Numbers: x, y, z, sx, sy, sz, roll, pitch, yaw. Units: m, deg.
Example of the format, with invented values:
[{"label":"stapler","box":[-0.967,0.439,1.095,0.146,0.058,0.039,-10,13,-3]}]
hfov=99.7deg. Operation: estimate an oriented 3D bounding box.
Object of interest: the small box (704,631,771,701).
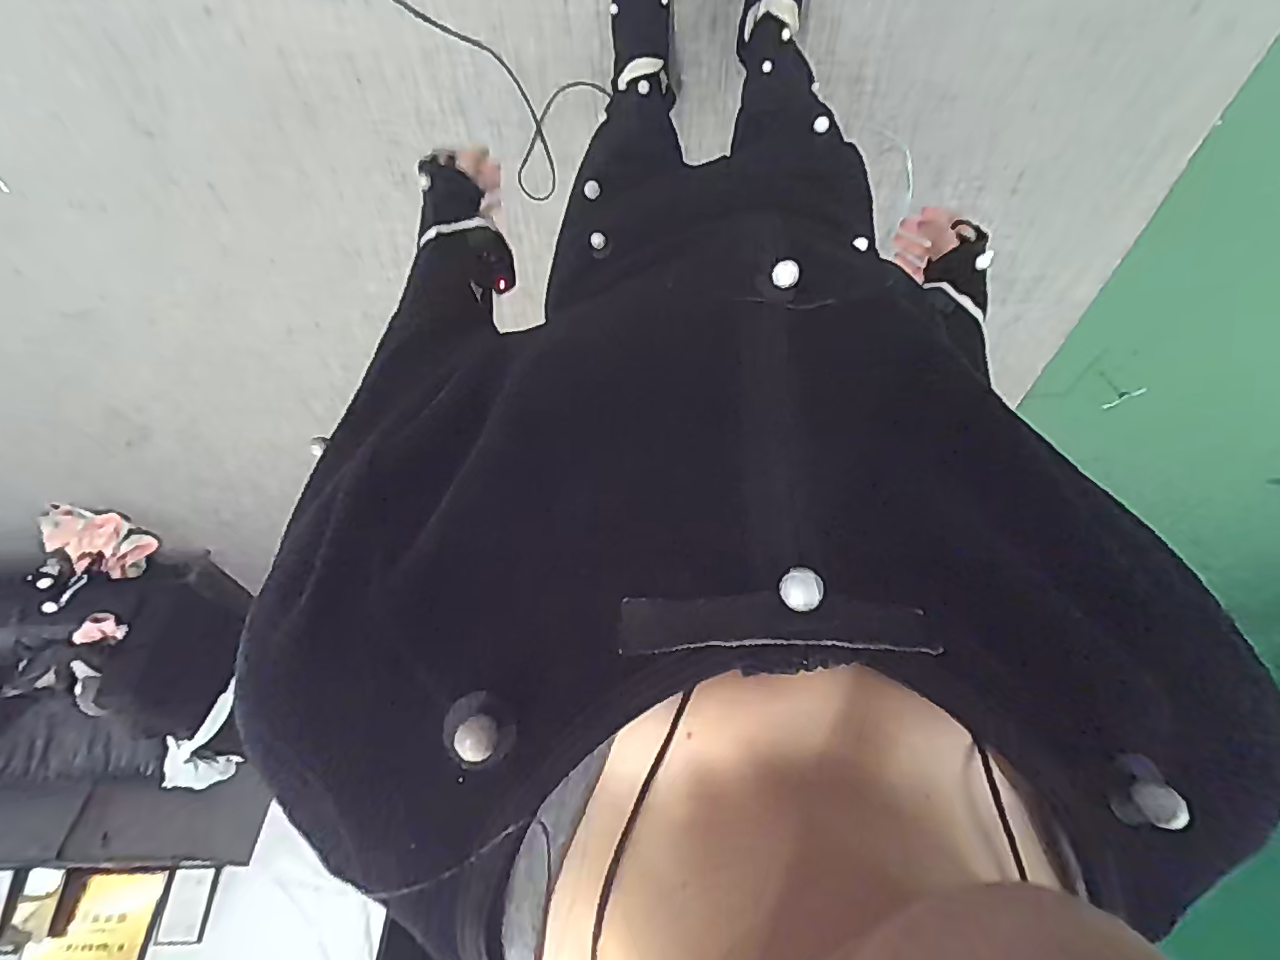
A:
[{"label":"small box","box":[0.299,0.587,1.711,0.179,0.176,0.168,0,140,-1]}]
